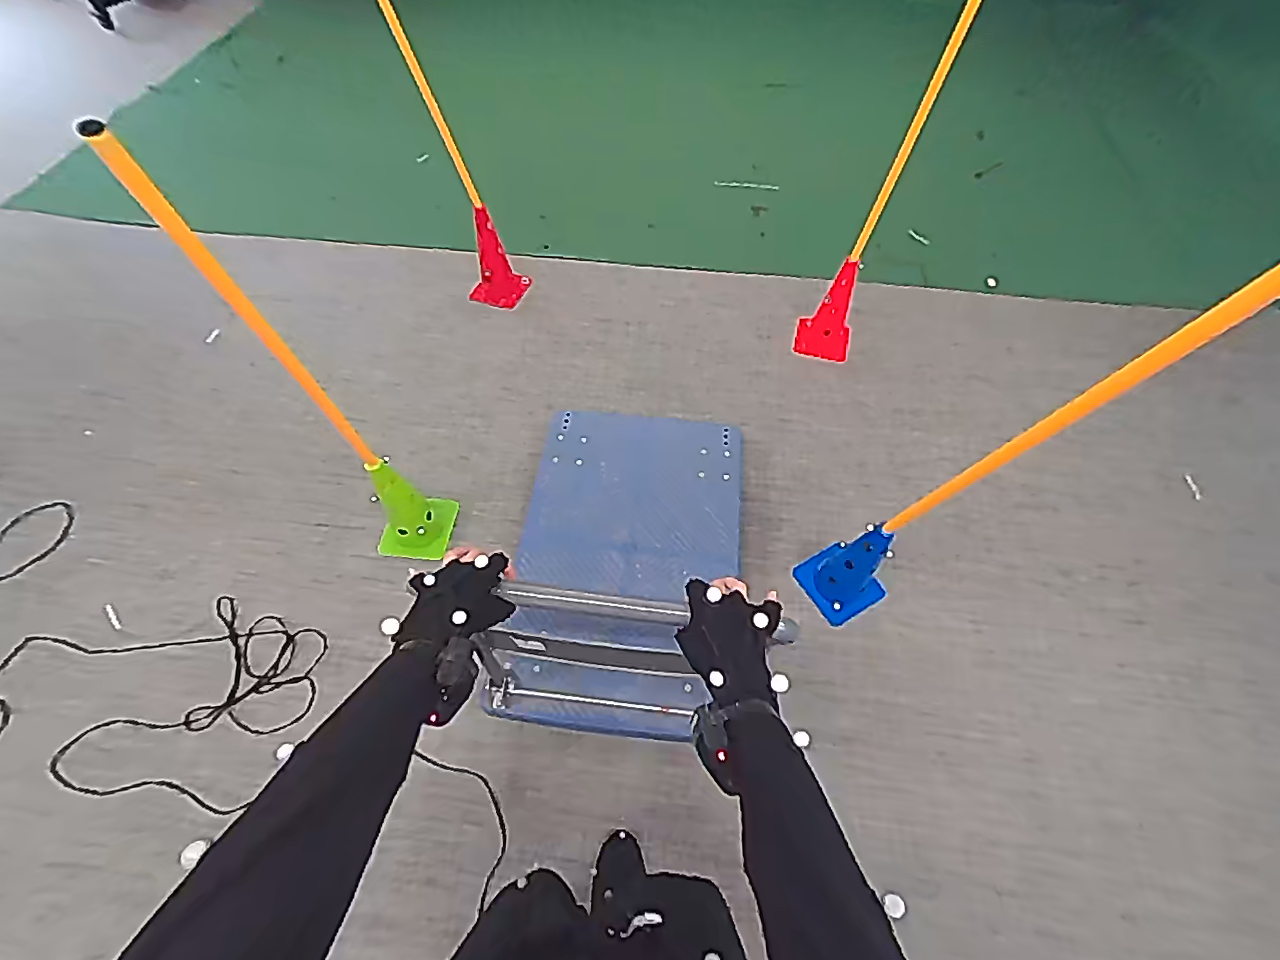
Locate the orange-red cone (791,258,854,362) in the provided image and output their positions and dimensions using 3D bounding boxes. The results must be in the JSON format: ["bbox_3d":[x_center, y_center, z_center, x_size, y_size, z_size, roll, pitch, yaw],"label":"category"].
[{"bbox_3d":[0.686,-0.622,1.918,0.198,0.360,0.199,15,60,9],"label":"orange-red cone"}]
